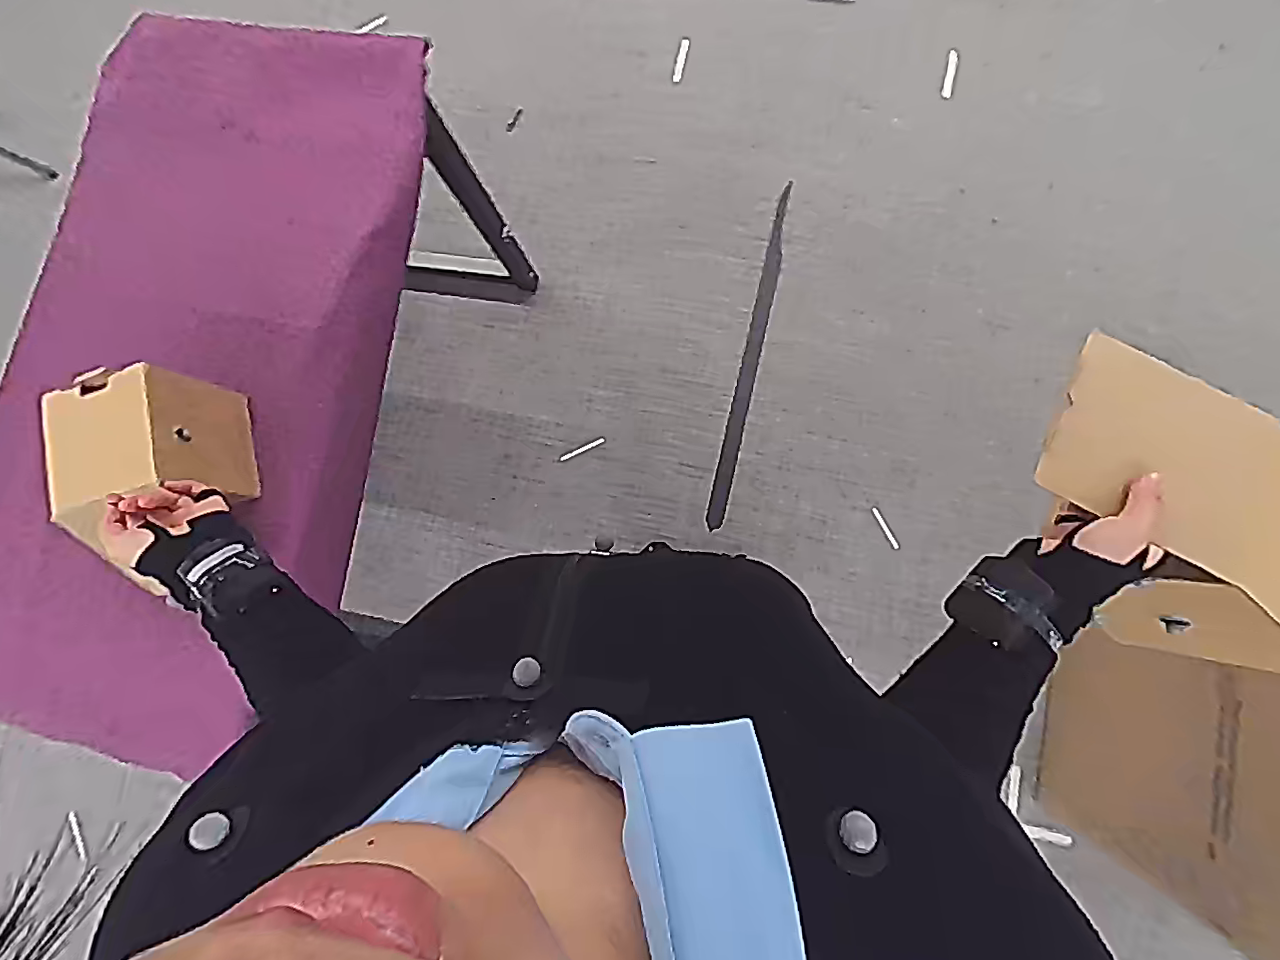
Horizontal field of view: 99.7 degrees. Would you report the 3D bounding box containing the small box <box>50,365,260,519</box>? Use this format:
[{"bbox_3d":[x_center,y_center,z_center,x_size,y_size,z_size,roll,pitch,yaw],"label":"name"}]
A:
[{"bbox_3d":[-0.708,-0.044,0.806,0.168,0.176,0.179,-15,80,5],"label":"small box"}]
